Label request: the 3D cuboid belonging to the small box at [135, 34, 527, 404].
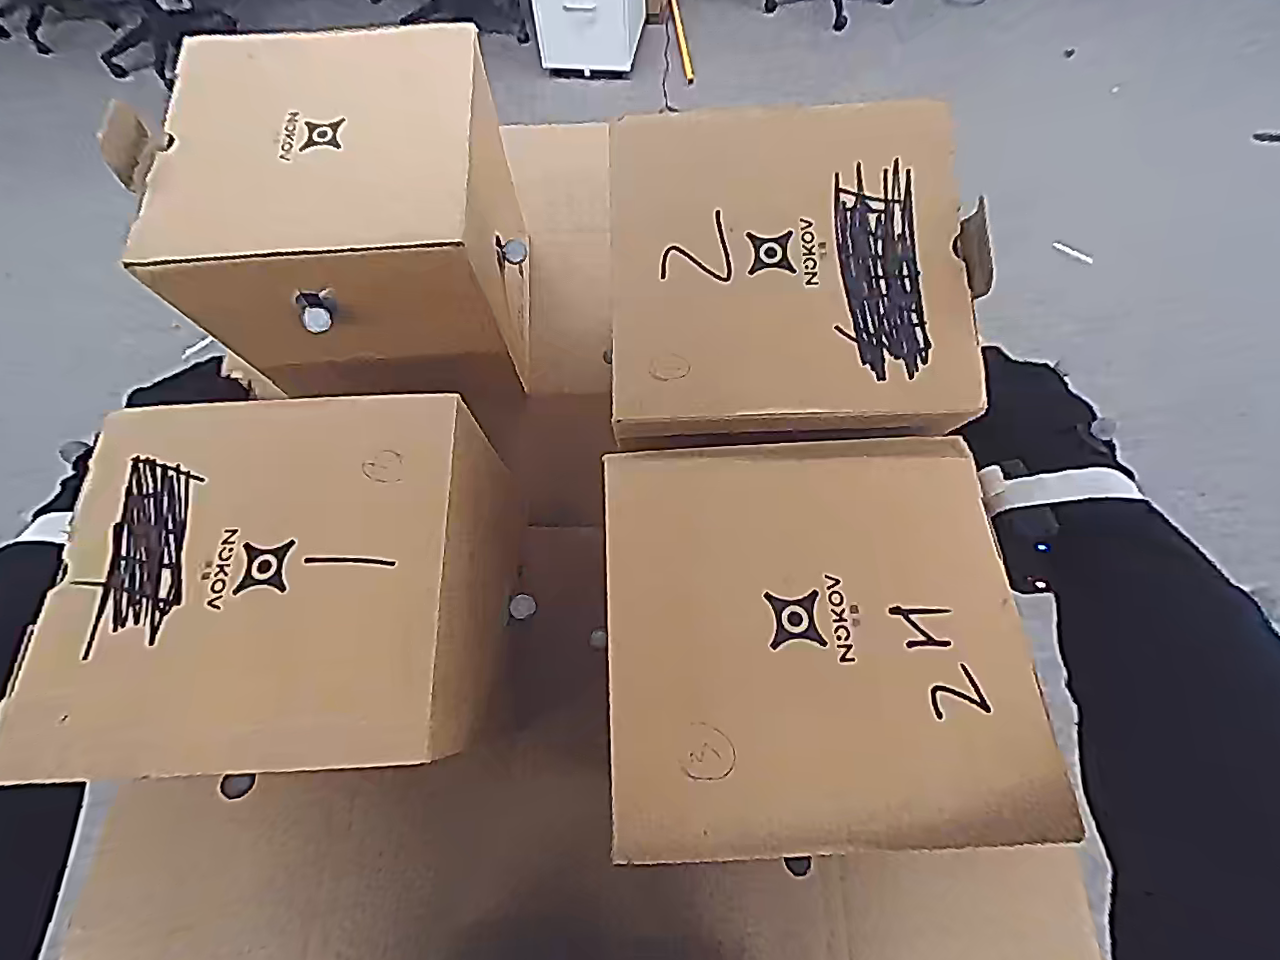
[{"bbox_3d":[-0.182,-0.167,0.385,0.179,0.176,0.168,-4,70,1],"label":"small box"}]
